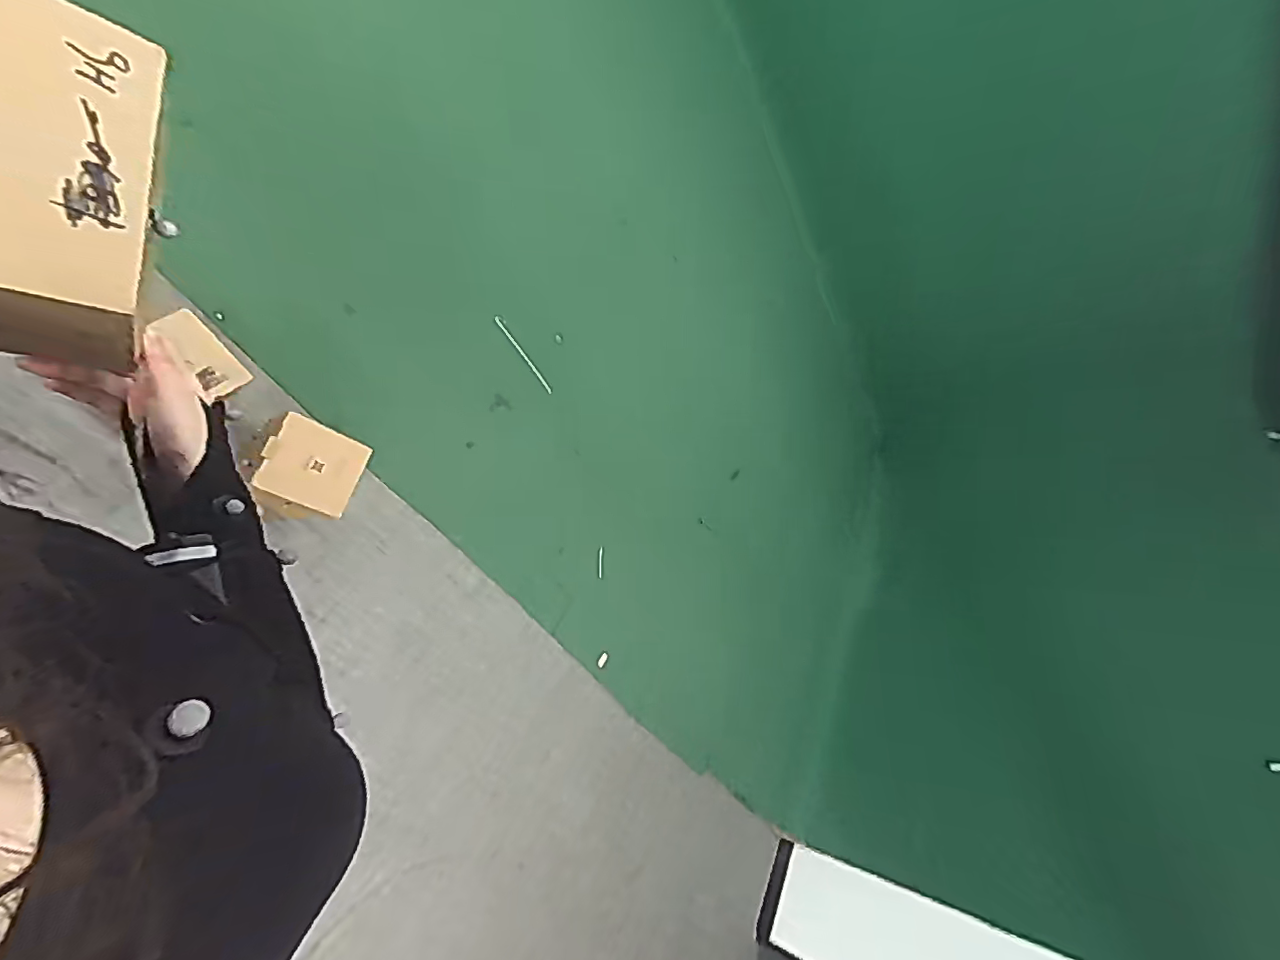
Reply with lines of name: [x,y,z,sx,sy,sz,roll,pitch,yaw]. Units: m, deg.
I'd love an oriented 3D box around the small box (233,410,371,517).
small box: [-0.717,-0.028,1.143,0.179,0.176,0.168,34,66,-42]

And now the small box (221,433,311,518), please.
small box: [-0.827,-0.024,1.263,0.179,0.176,0.168,48,55,-35]
